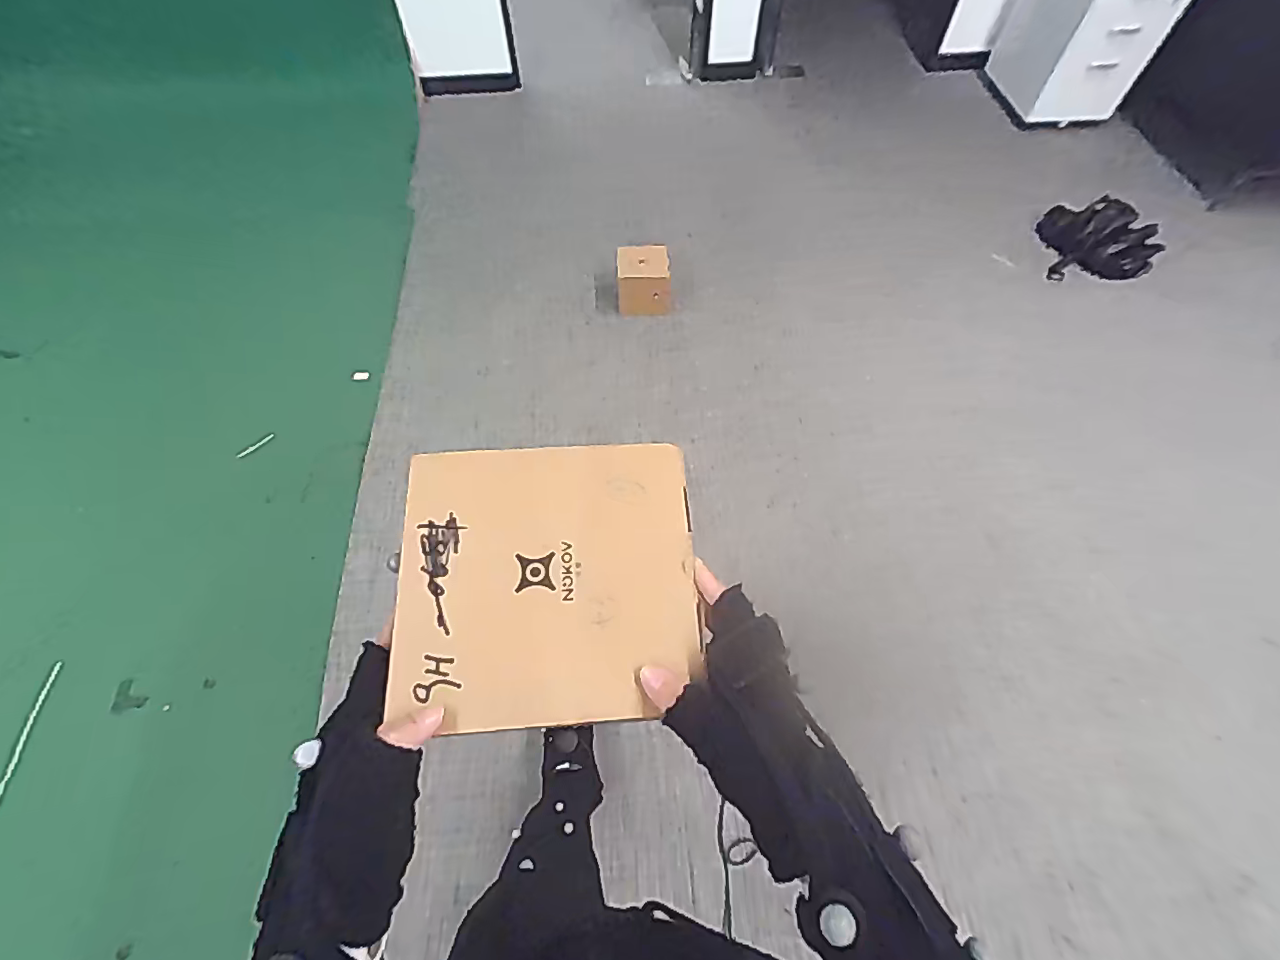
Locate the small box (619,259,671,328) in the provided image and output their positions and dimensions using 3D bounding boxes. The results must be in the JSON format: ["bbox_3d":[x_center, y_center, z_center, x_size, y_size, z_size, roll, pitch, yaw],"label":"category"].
[{"bbox_3d":[0.017,-0.660,1.921,0.179,0.176,0.168,-3,58,1],"label":"small box"}]

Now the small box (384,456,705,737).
[{"bbox_3d":[-0.060,0.093,0.399,0.179,0.176,0.168,-2,64,-5],"label":"small box"}]
